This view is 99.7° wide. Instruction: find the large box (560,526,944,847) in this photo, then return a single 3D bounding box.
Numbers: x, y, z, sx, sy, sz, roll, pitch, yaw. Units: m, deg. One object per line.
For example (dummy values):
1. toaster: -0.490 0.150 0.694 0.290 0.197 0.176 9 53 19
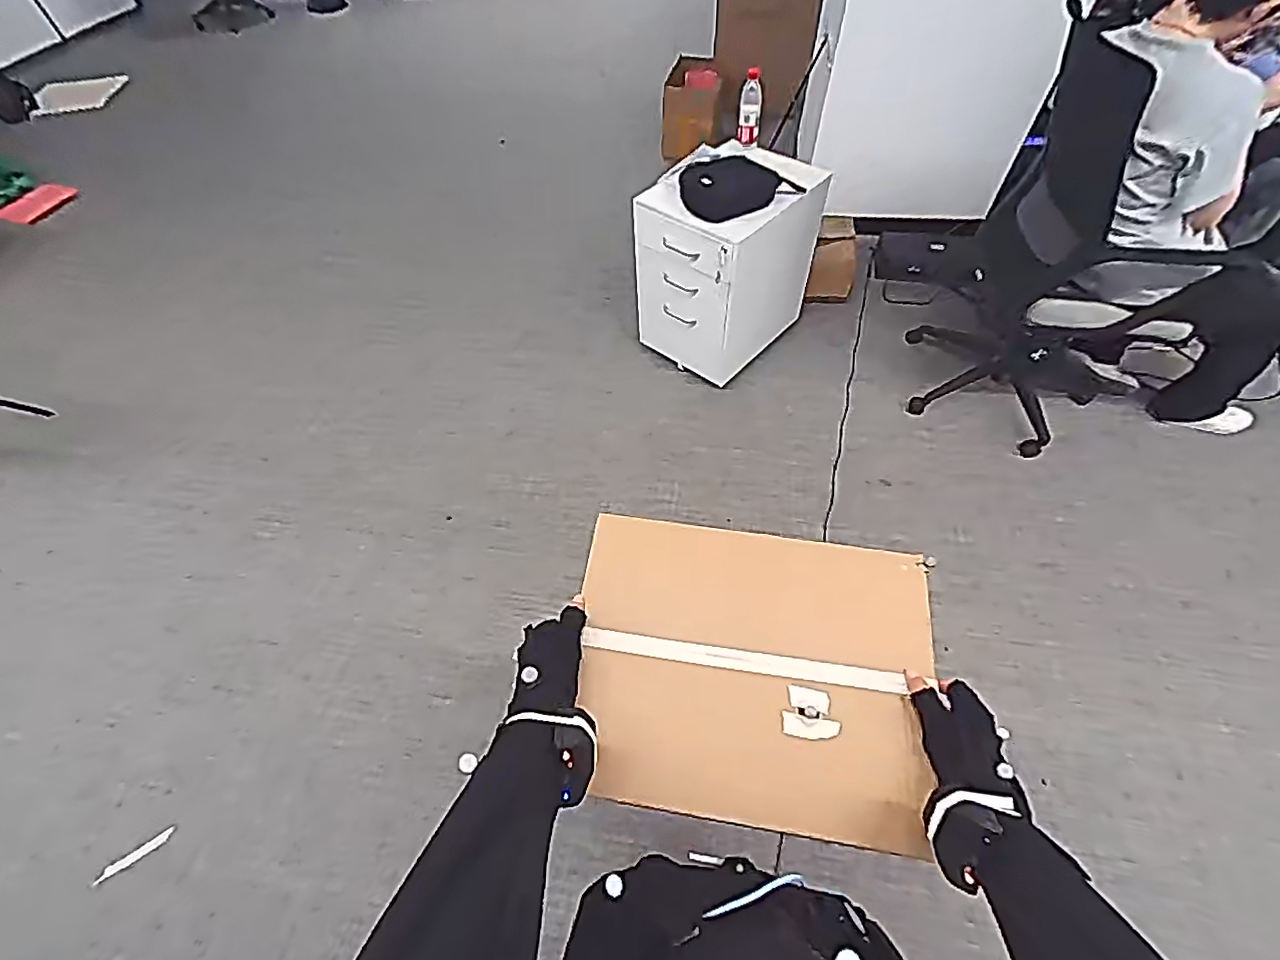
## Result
1. large box: 0.131 0.285 0.755 0.408 0.320 0.320 7 62 5
